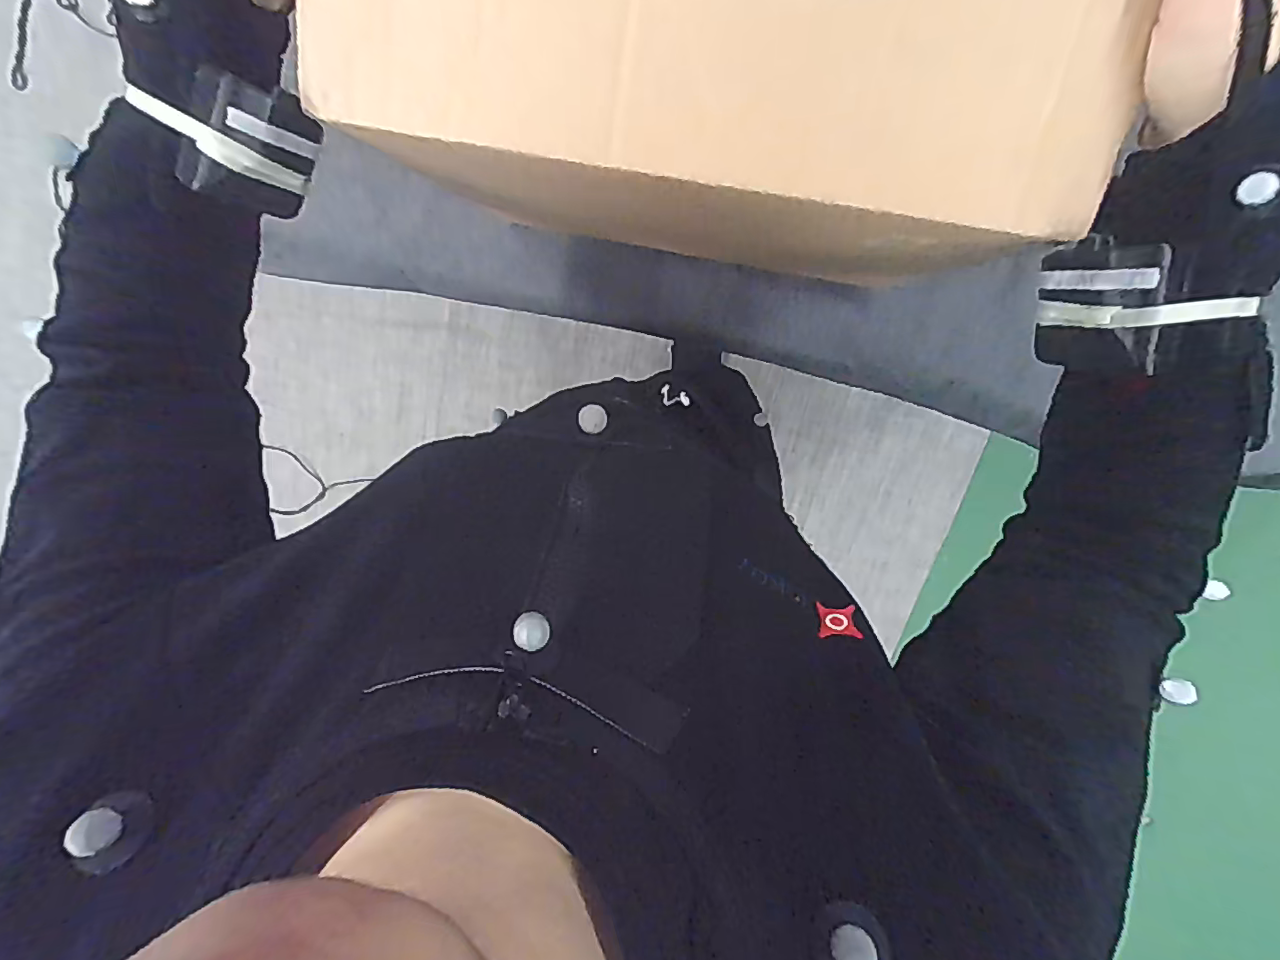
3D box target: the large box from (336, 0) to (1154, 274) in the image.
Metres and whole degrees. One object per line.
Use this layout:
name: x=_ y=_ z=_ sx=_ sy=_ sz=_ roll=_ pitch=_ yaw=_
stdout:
large box: x=0.064 y=-0.348 z=0.387 sx=0.408 sy=0.320 sz=0.320 roll=10 pitch=107 yaw=2
